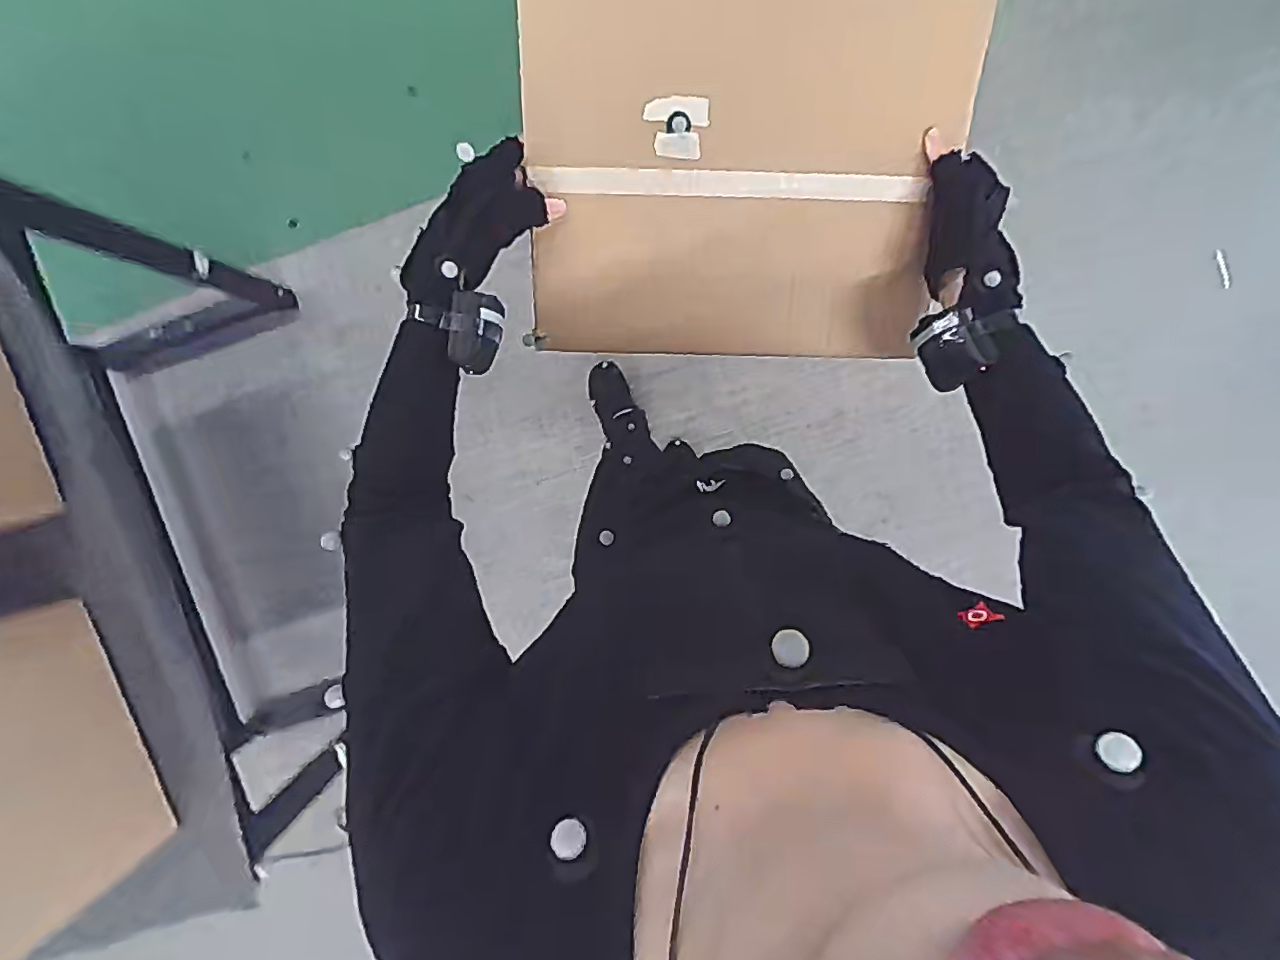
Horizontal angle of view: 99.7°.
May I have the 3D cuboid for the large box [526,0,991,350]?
[{"bbox_3d":[0.099,-0.342,0.649,0.408,0.320,0.320,2,112,-1],"label":"large box"}]
